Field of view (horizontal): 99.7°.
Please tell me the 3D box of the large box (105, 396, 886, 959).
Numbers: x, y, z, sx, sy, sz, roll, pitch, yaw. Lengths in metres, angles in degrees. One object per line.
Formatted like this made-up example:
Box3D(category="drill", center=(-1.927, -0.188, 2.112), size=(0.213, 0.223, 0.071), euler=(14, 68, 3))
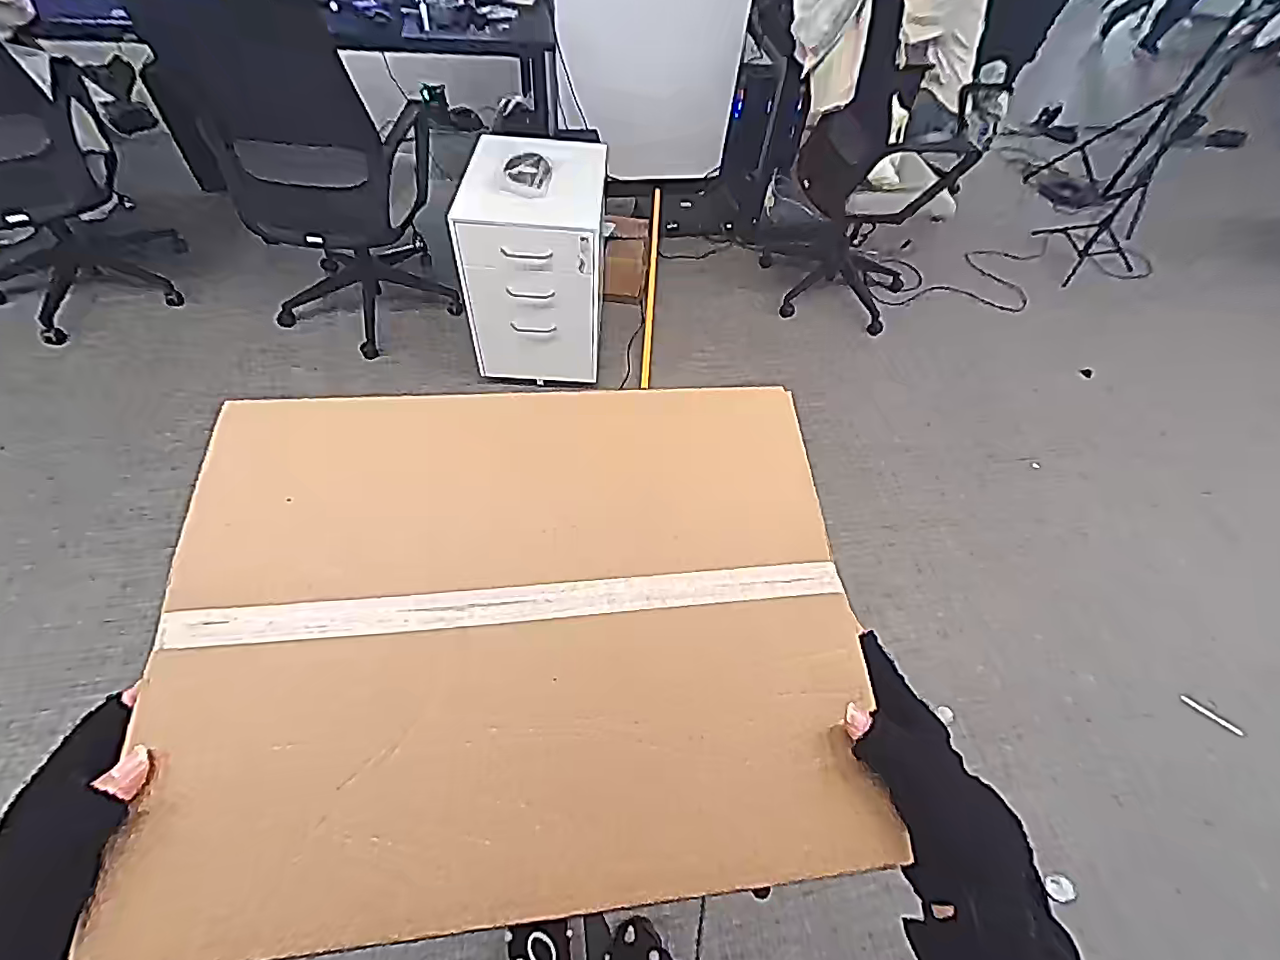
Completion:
Box3D(category="large box", center=(-0.084, 0.147, 0.473), size=(0.408, 0.320, 0.320), euler=(-3, 63, -7))
